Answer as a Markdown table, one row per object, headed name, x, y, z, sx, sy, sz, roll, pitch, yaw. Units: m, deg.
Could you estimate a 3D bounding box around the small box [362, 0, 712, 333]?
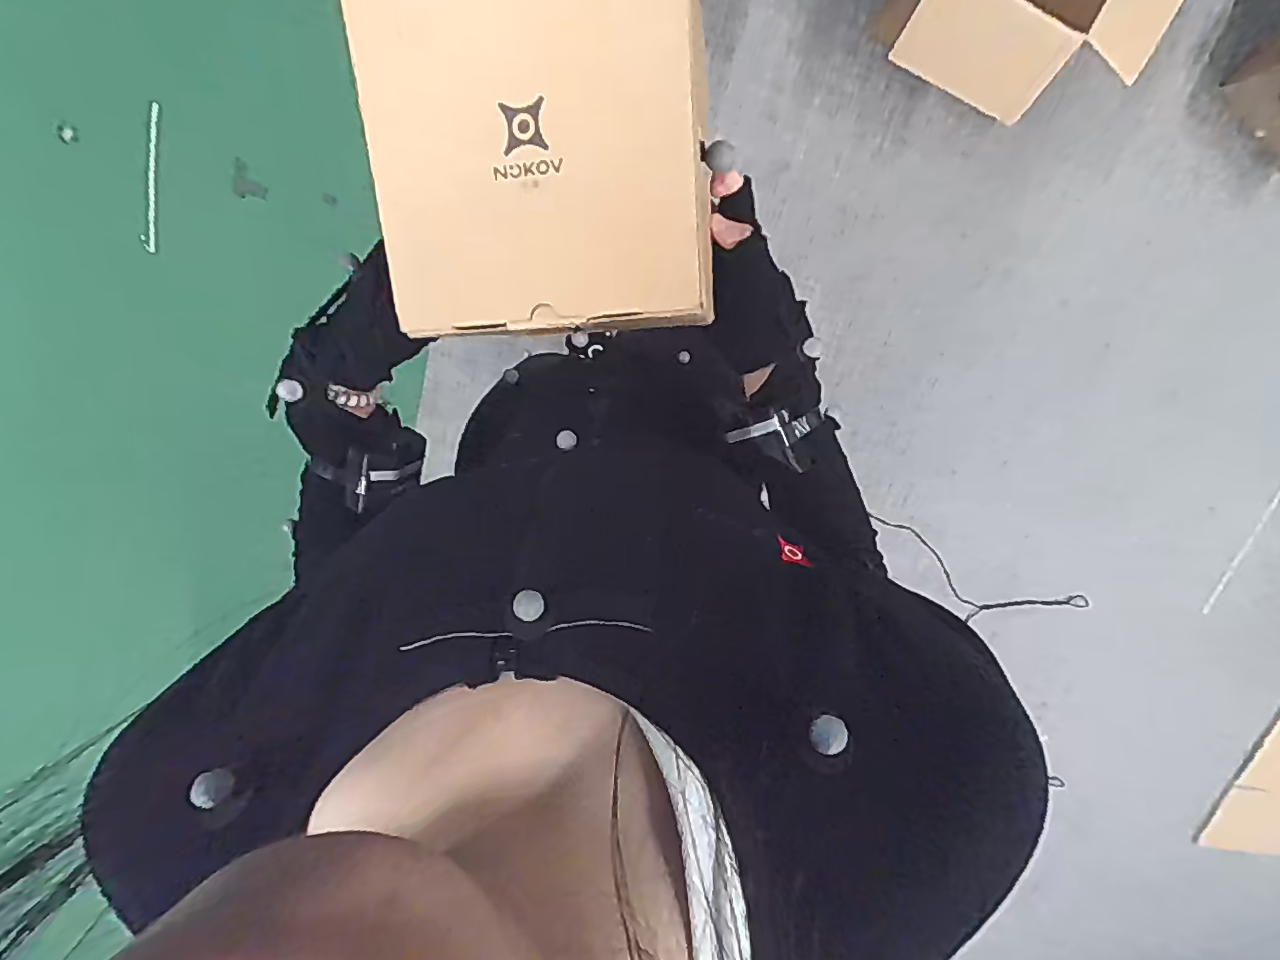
| name | x | y | z | sx | sy | sz | roll | pitch | yaw |
| --- | --- | --- | --- | --- | --- | --- | --- | --- | --- |
| small box | -0.040 | -0.189 | 0.346 | 0.168 | 0.176 | 0.179 | -2 | 105 | 10 |
